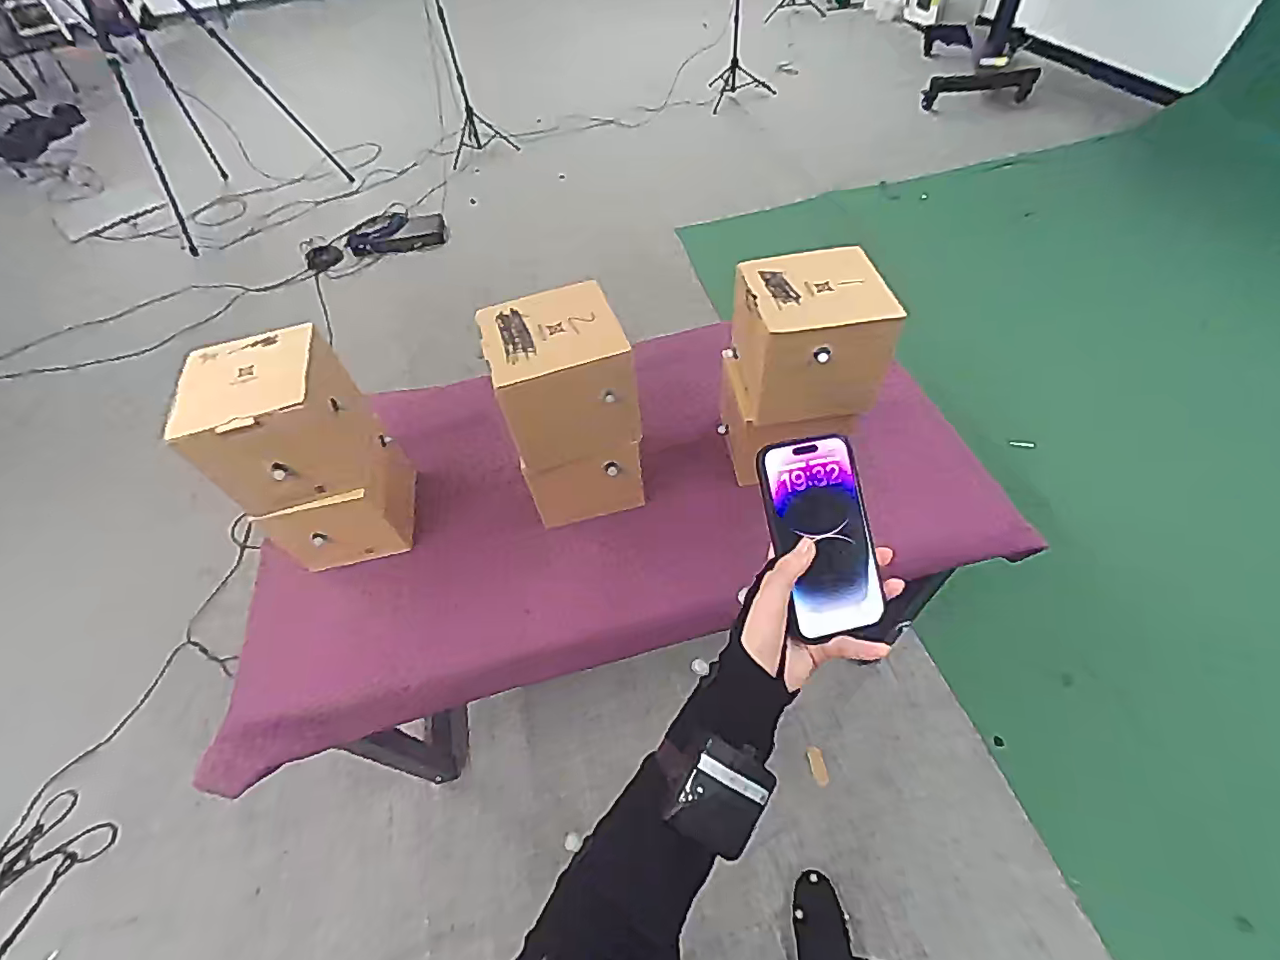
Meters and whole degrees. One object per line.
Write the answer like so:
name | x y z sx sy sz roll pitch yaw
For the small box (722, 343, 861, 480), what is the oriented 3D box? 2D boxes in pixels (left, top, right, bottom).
small box | 0.240 -0.120 0.905 0.179 0.176 0.168 -8 52 1

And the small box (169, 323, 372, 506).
small box | -0.494 -0.083 0.756 0.168 0.176 0.179 -17 54 -7

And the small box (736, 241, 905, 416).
small box | 0.237 -0.208 0.766 0.179 0.176 0.168 -8 53 0

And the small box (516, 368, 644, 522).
small box | -0.093 -0.053 0.892 0.179 0.176 0.168 -13 53 -3

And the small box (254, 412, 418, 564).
small box | -0.477 0.021 0.882 0.168 0.176 0.179 -13 53 -3
